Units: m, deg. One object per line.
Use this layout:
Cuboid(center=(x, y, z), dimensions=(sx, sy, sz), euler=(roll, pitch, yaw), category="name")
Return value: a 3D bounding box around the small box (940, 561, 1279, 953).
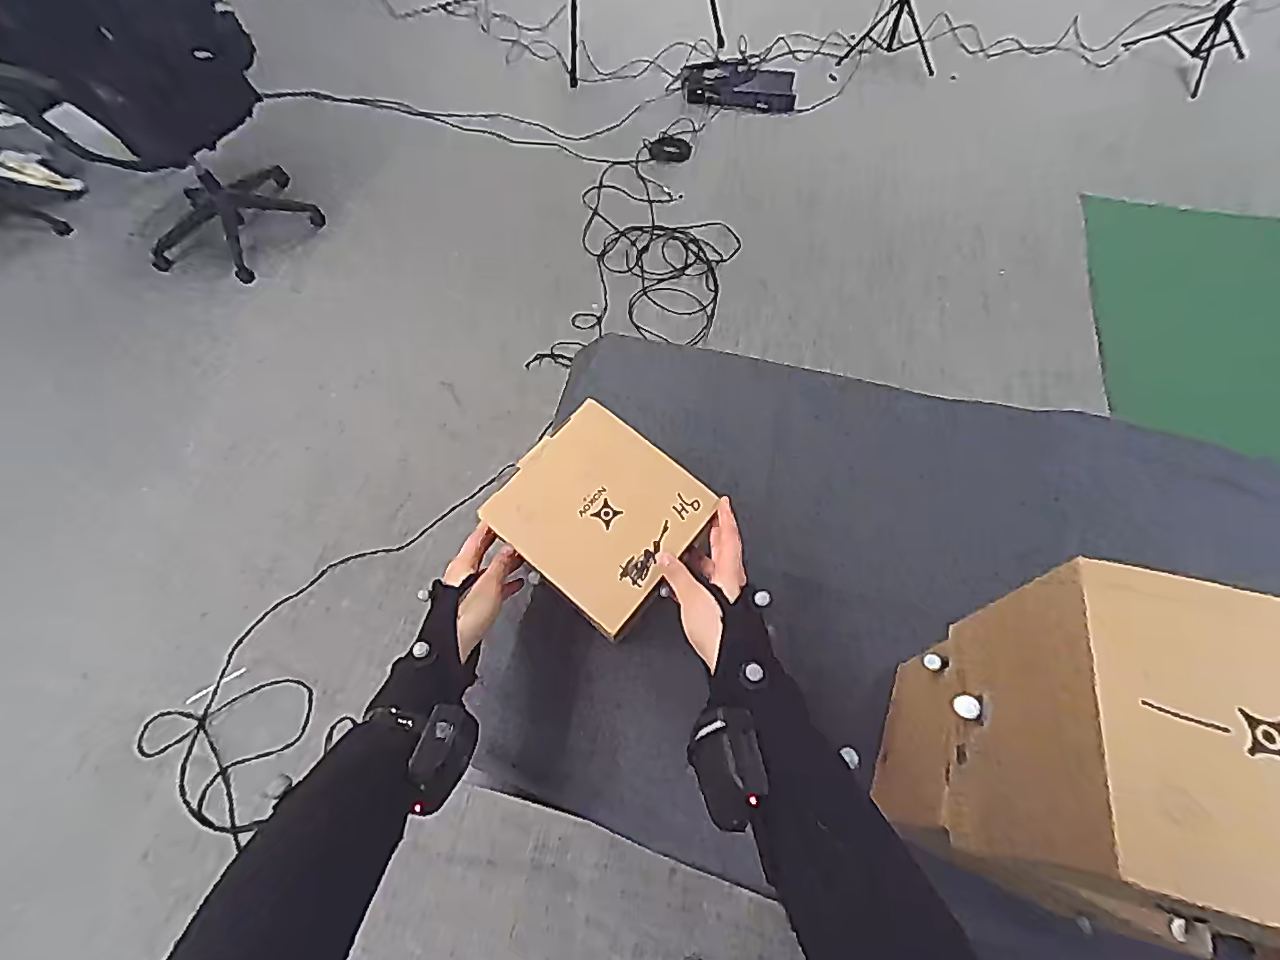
Cuboid(center=(0.318, 0.174, 0.338), dimensions=(0.179, 0.176, 0.168), euler=(13, 61, 10), category="small box")
